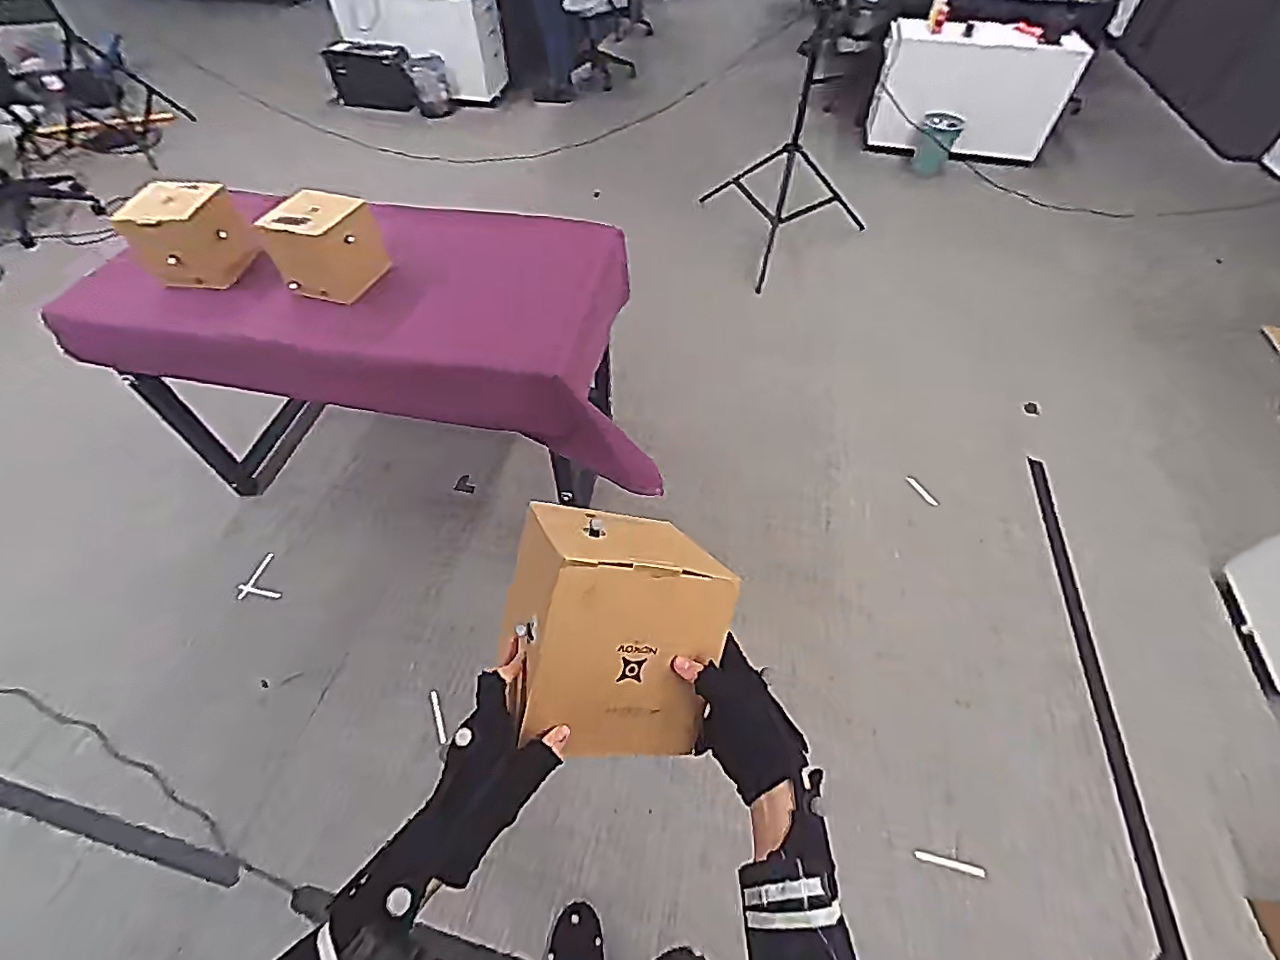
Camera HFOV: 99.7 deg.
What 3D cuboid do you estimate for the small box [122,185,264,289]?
[{"bbox_3d":[-1.042,-0.572,1.283,0.168,0.176,0.179,2,53,0],"label":"small box"}]

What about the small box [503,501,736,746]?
[{"bbox_3d":[-0.034,0.130,0.531,0.168,0.179,0.176,10,9,-21],"label":"small box"}]

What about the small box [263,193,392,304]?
[{"bbox_3d":[-0.715,-0.538,1.265,0.168,0.176,0.179,14,53,9],"label":"small box"}]
